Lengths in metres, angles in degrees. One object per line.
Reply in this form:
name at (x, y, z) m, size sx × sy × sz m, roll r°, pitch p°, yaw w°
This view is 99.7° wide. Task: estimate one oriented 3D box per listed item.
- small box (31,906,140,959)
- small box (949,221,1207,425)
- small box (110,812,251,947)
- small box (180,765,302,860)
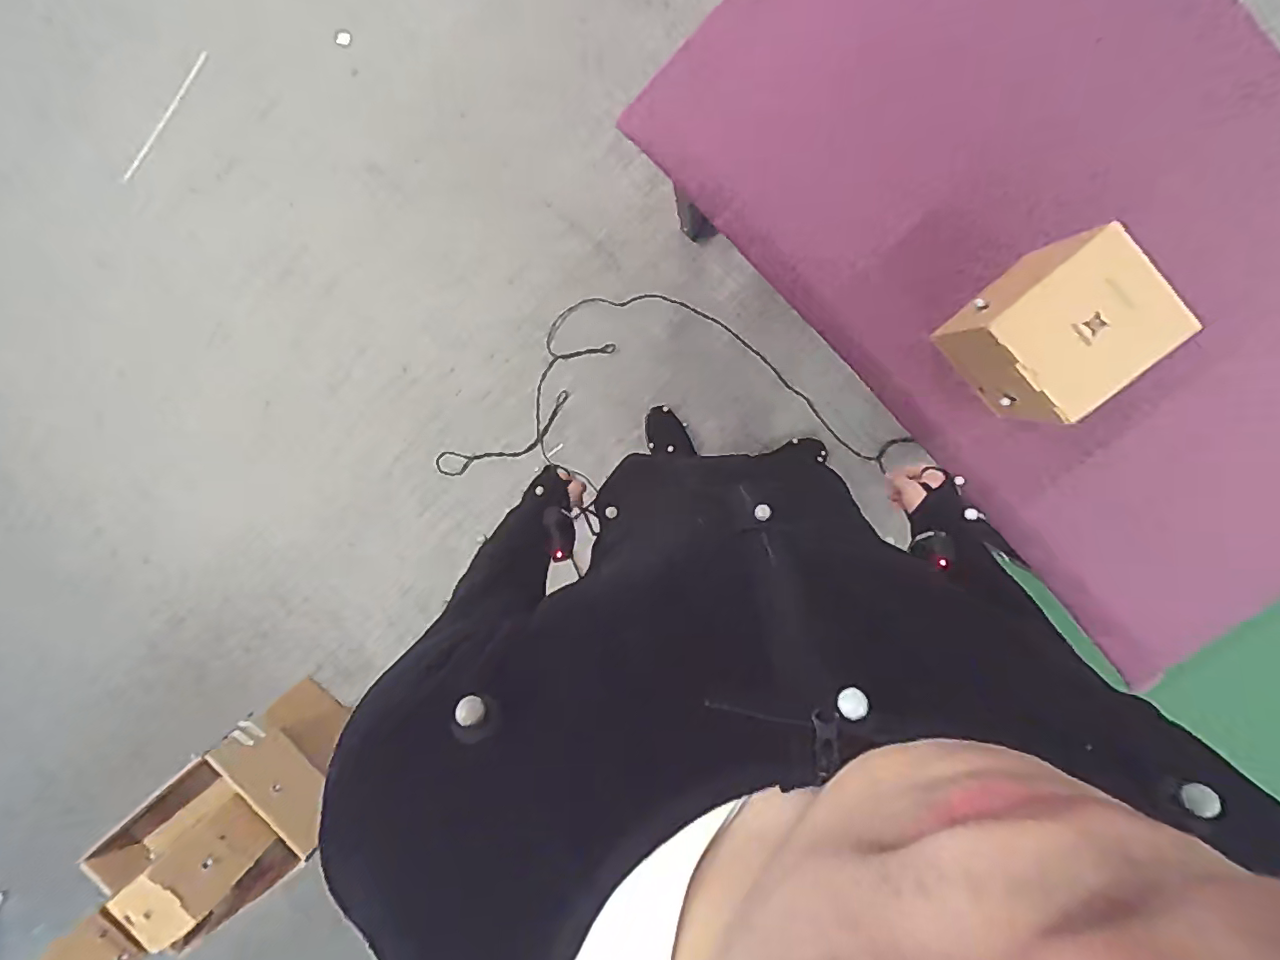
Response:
small box at (-1.284, 1.114, 1.205) m, size 0.179 × 0.176 × 0.168 m, roll -42°, pitch 93°, yaw 11°
small box at (0.544, -0.193, 0.709) m, size 0.179 × 0.176 × 0.168 m, roll -41°, pitch 94°, yaw 12°
small box at (-1.096, 0.957, 1.310) m, size 0.179 × 0.176 × 0.168 m, roll -38°, pitch 94°, yaw 13°
small box at (-1.074, 0.924, 1.468) m, size 0.179 × 0.176 × 0.168 m, roll -38°, pitch 95°, yaw 14°
